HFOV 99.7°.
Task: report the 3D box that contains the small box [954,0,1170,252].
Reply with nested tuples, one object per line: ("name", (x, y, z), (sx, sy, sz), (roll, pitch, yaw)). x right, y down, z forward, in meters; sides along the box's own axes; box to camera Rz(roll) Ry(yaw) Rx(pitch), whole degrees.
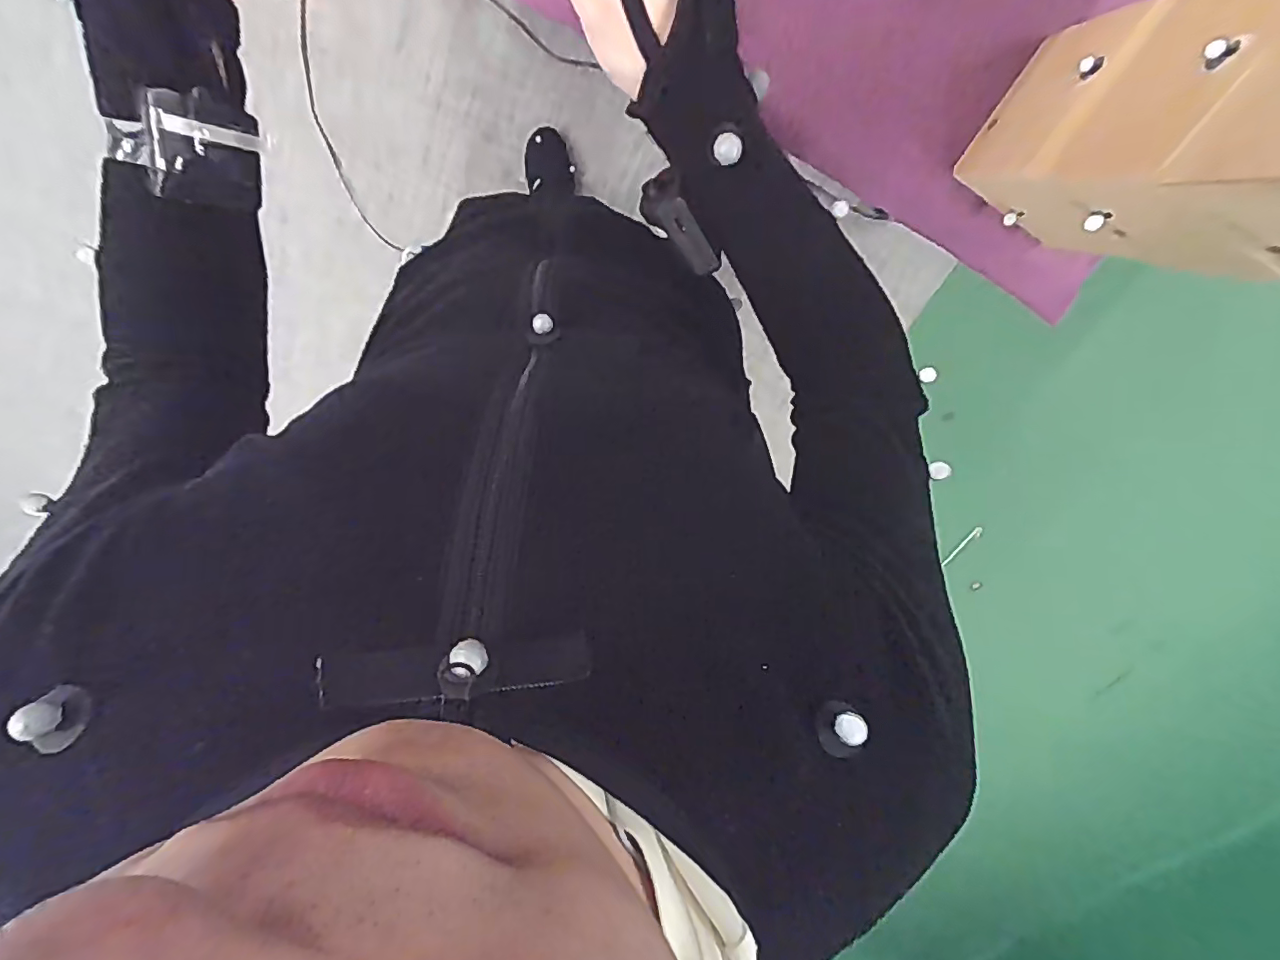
("small box", (0.508, -0.387, 0.608), (0.179, 0.176, 0.168), (26, 116, -13))

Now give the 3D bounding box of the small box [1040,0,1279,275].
("small box", (0.509, -0.309, 0.465), (0.168, 0.176, 0.179), (27, 117, -12))
